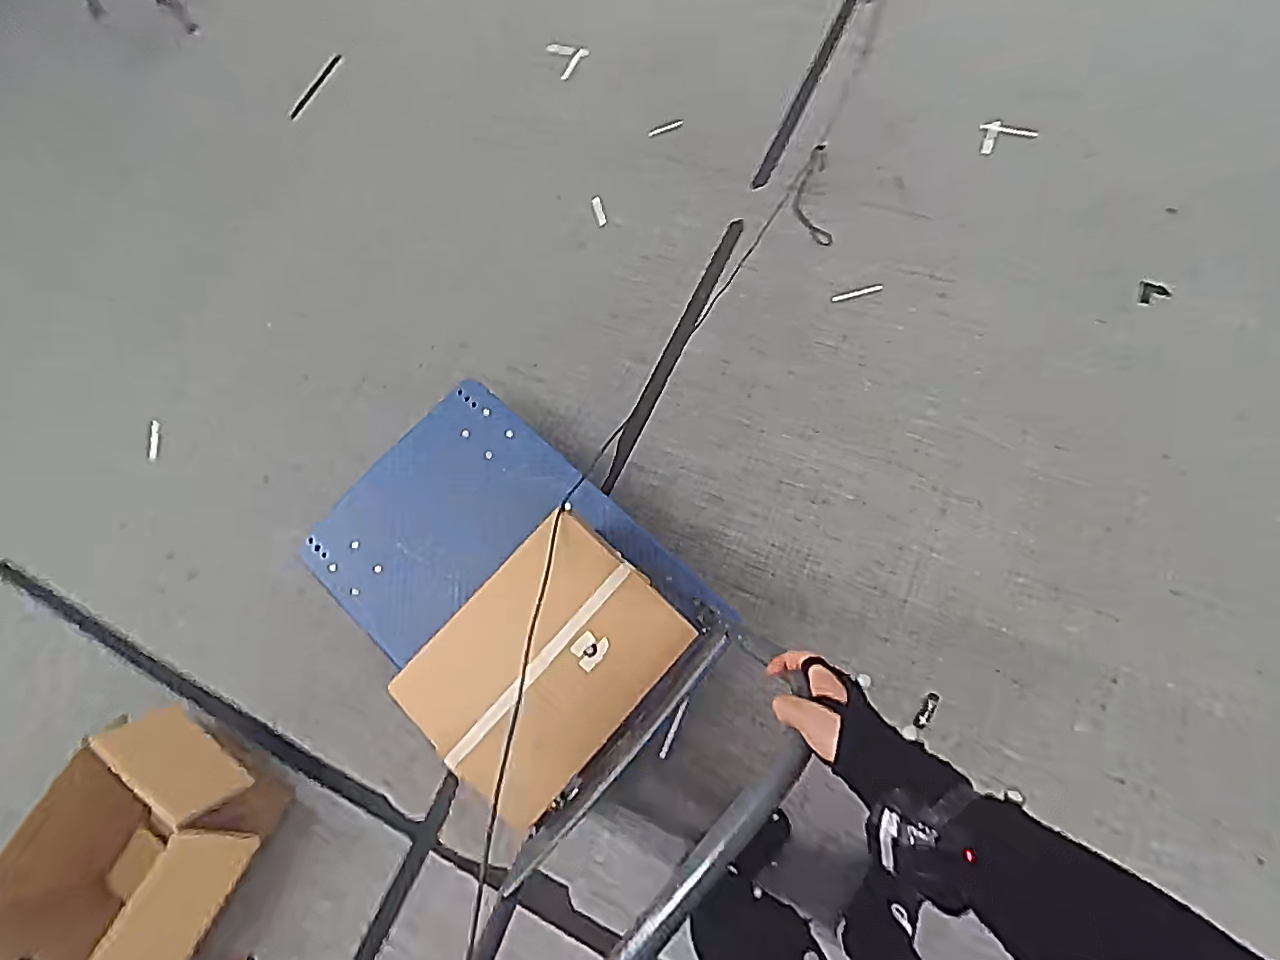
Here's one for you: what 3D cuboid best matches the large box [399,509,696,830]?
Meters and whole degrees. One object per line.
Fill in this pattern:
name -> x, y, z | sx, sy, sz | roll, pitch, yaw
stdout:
large box -> -0.144, 0.325, 1.012 | 0.320, 0.320, 0.408 | 41, 82, 10
